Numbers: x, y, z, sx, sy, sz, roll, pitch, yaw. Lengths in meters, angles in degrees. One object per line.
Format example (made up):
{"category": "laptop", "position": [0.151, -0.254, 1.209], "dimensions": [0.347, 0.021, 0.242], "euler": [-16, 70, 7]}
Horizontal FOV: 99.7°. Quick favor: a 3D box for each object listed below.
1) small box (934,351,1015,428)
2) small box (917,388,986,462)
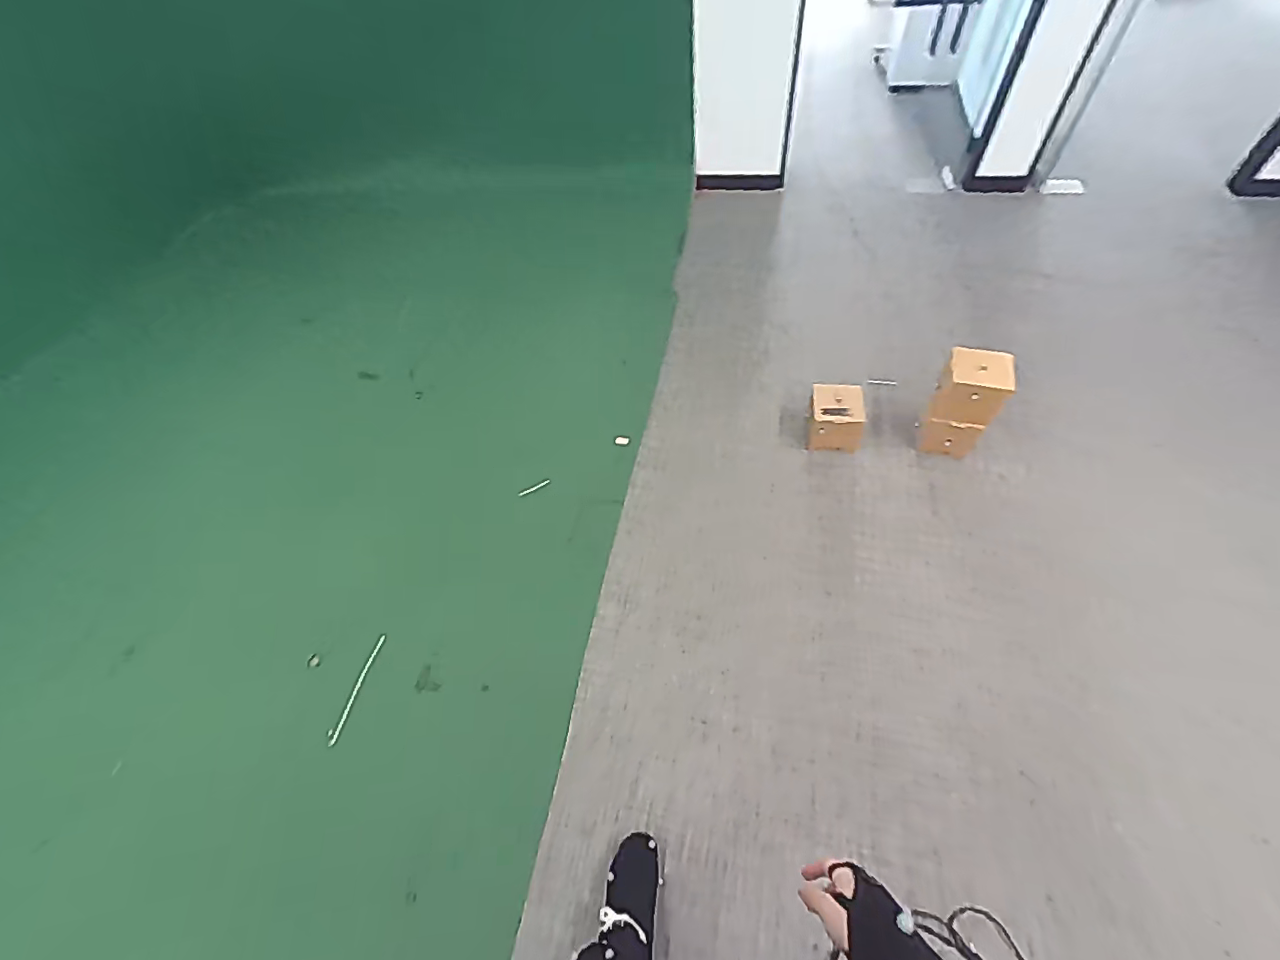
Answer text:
{"category": "small box", "position": [1.069, -0.286, 1.740], "dimensions": [0.179, 0.176, 0.168], "euler": [11, 57, 15]}
{"category": "small box", "position": [1.073, -0.187, 1.869], "dimensions": [0.168, 0.176, 0.179], "euler": [13, 58, 15]}
